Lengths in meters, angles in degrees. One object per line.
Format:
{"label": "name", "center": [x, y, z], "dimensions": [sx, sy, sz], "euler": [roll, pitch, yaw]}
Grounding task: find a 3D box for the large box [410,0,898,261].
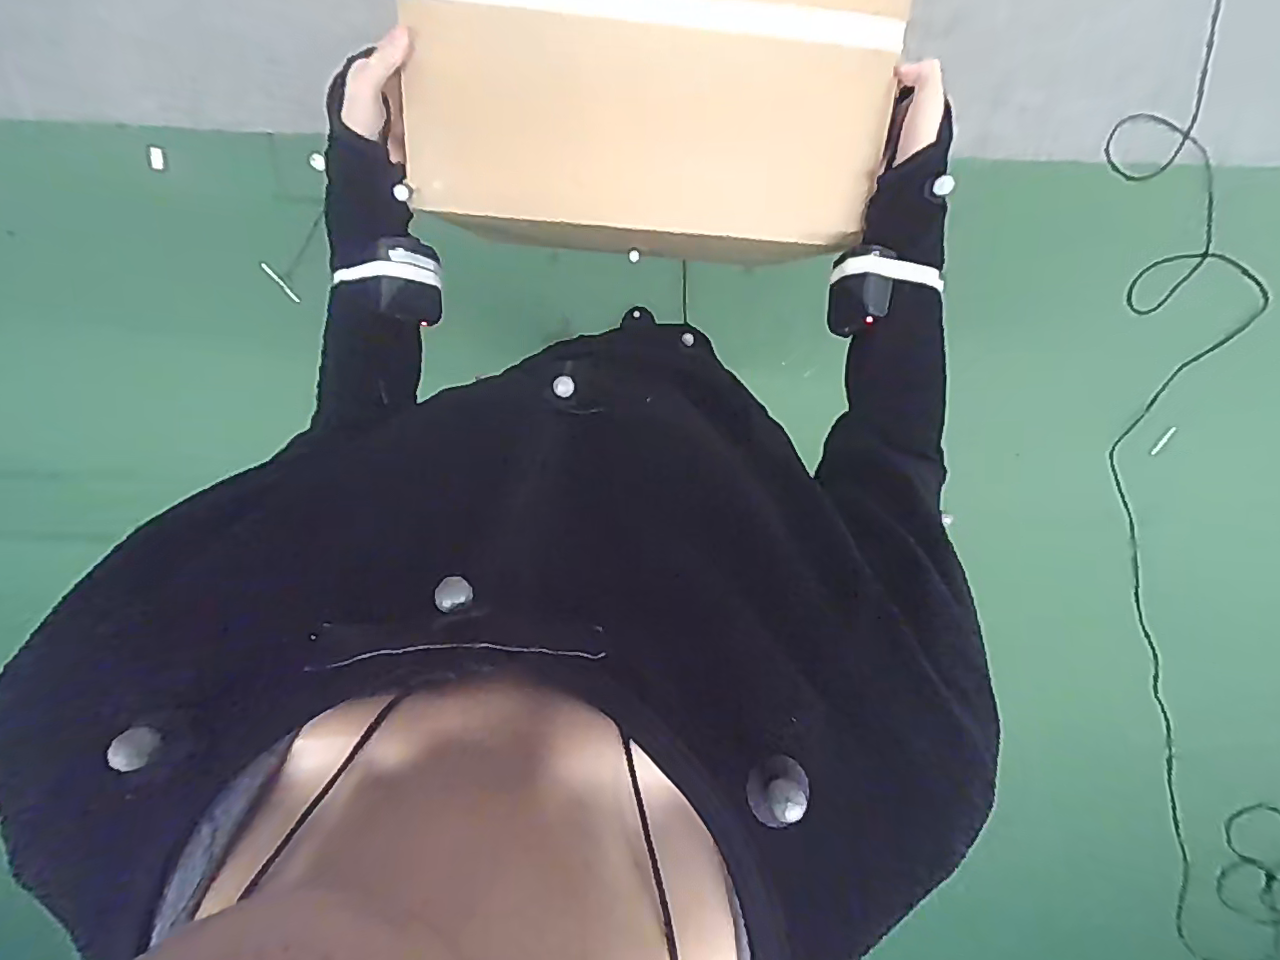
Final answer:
{"label": "large box", "center": [0.007, -0.417, 0.585], "dimensions": [0.408, 0.320, 0.320], "euler": [3, 108, -4]}
